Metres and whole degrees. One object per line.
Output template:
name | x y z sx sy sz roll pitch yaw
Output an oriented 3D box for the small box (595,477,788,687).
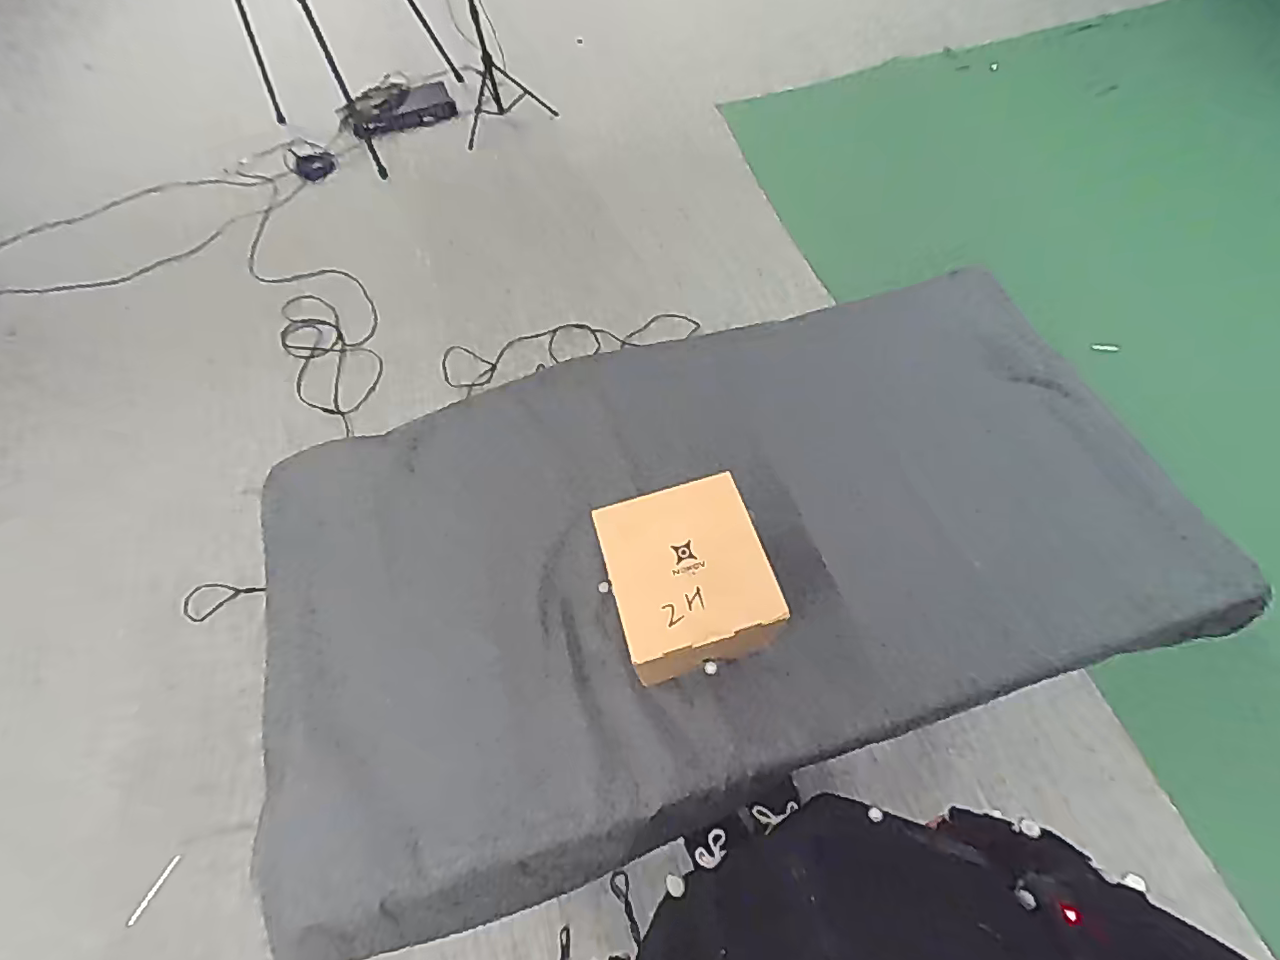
small box | 0.053 0.127 0.640 0.168 0.176 0.179 -16 63 -4
